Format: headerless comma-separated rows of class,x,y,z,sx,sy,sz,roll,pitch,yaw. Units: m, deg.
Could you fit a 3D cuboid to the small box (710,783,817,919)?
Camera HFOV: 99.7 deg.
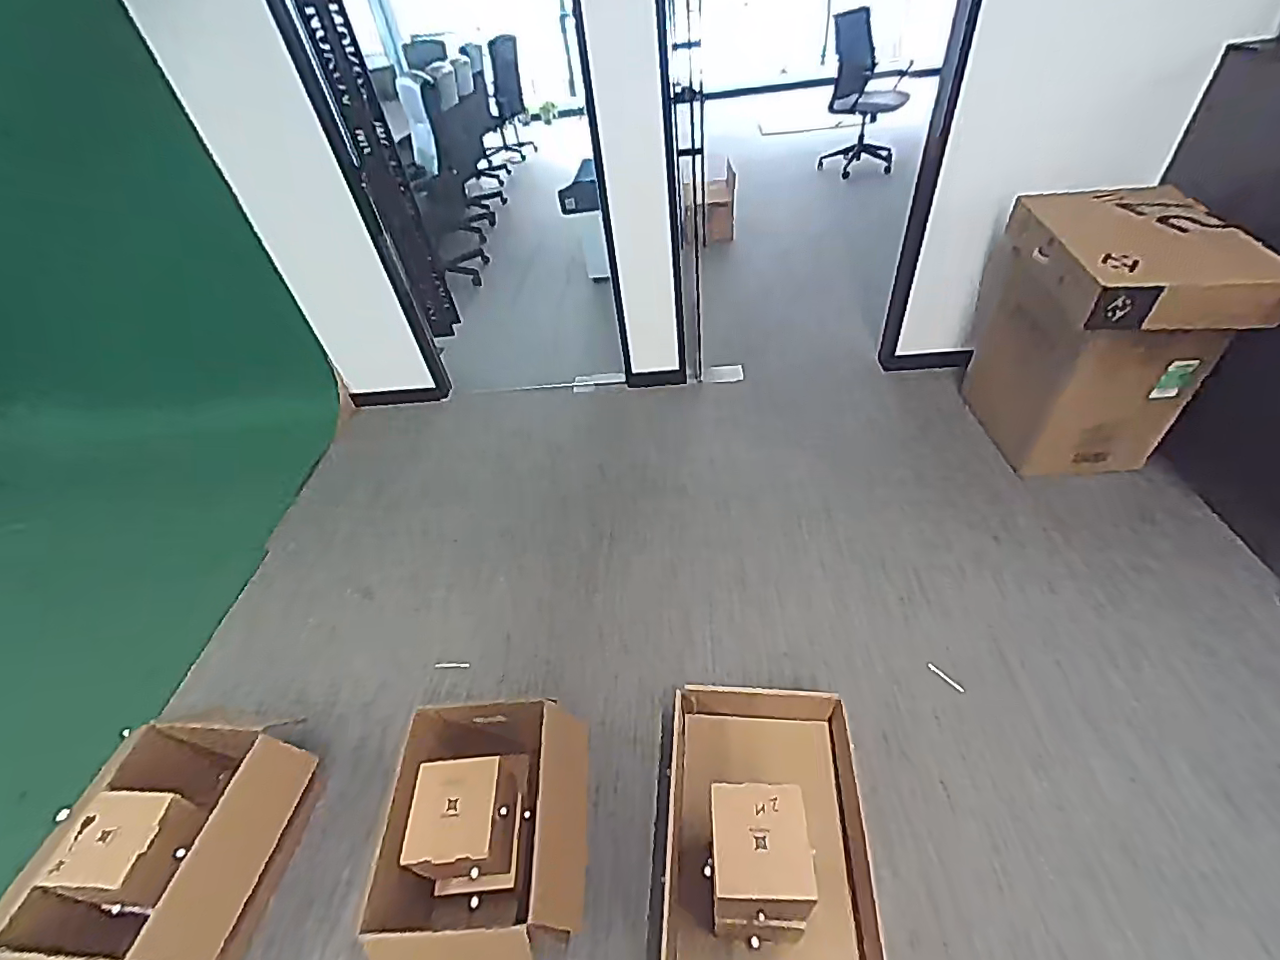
small box,0.215,0.676,0.984,0.168,0.176,0.179,-2,42,5

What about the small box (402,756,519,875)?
small box,-0.352,0.686,1.100,0.168,0.176,0.179,-5,45,2

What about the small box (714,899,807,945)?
small box,0.233,0.802,1.088,0.168,0.176,0.179,-1,43,7
